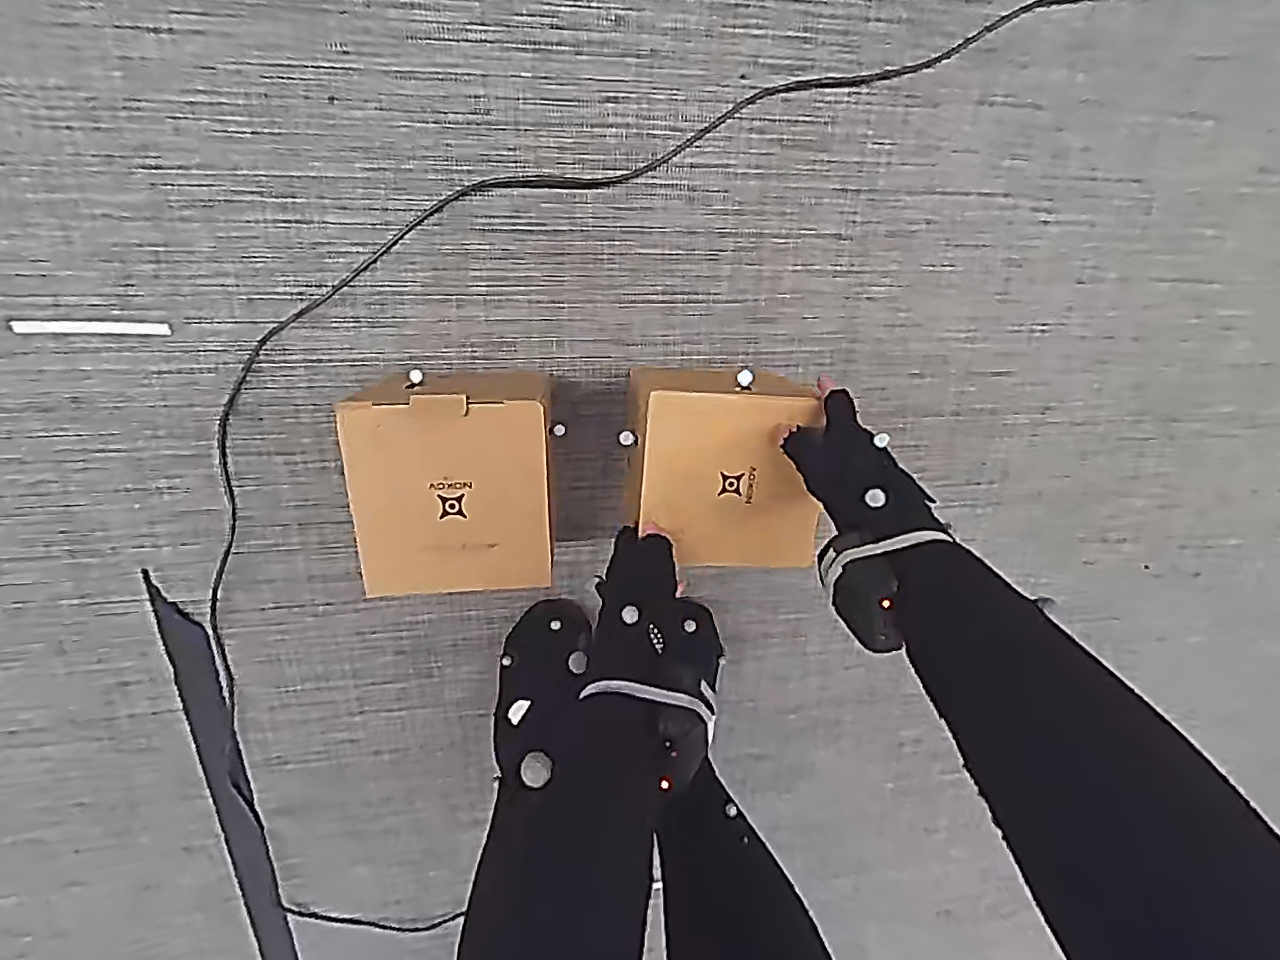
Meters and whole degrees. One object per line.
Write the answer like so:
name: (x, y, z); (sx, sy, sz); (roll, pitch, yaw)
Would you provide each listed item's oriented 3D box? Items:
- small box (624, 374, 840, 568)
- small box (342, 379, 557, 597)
small box: (0.079, -0.018, 0.571); (0.179, 0.176, 0.168); (1, 108, -9)
small box: (-0.169, -0.005, 0.540); (0.168, 0.176, 0.179); (-1, 109, -6)
